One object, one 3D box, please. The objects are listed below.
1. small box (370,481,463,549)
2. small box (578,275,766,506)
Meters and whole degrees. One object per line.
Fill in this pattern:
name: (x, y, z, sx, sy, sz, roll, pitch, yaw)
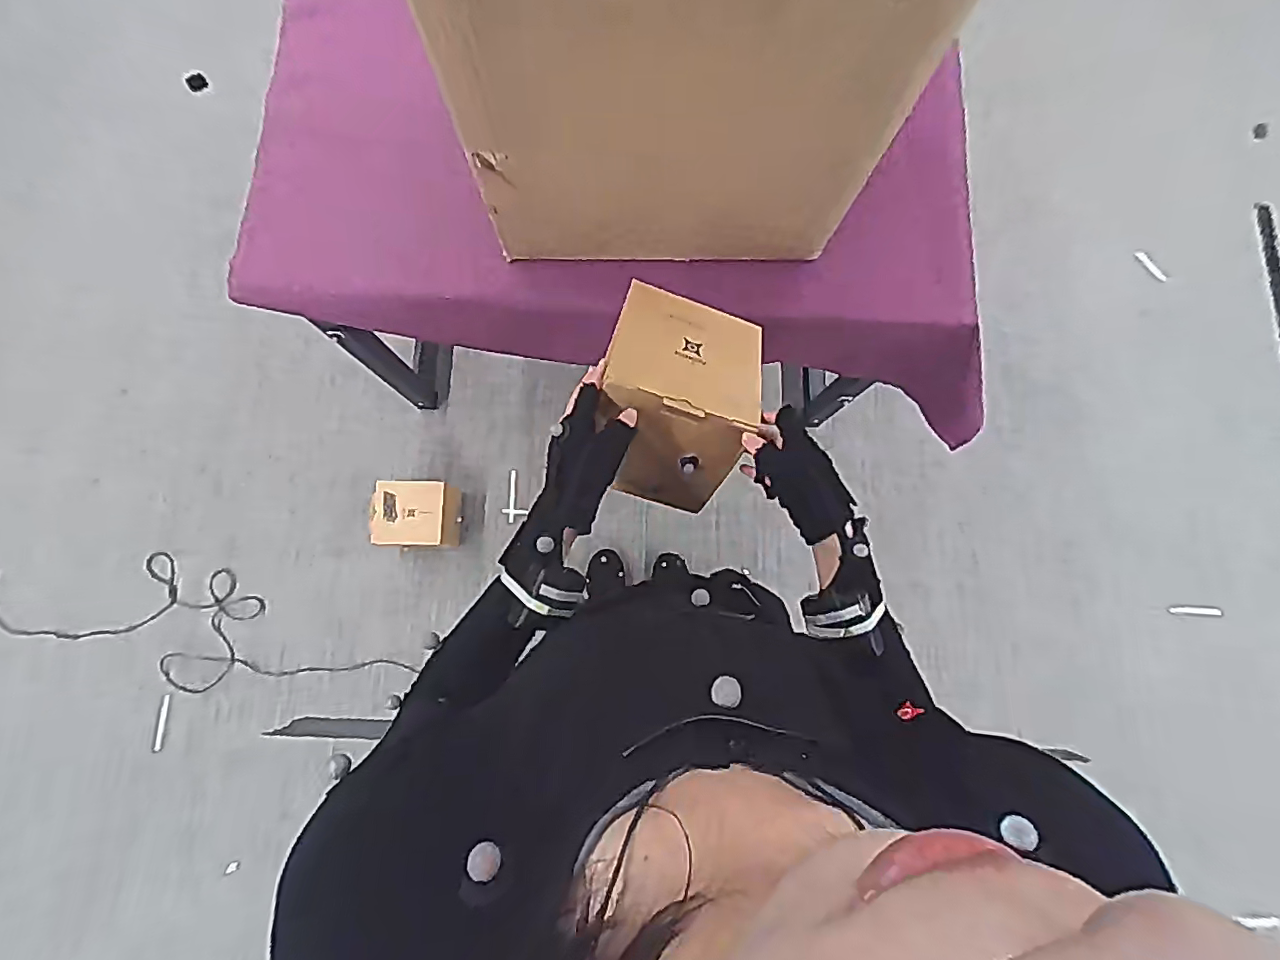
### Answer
small box: (-0.591, 0.099, 1.446, 0.179, 0.176, 0.168, 1, 80, -3)
small box: (0.033, -0.096, 0.629, 0.168, 0.176, 0.179, 18, 50, -10)
